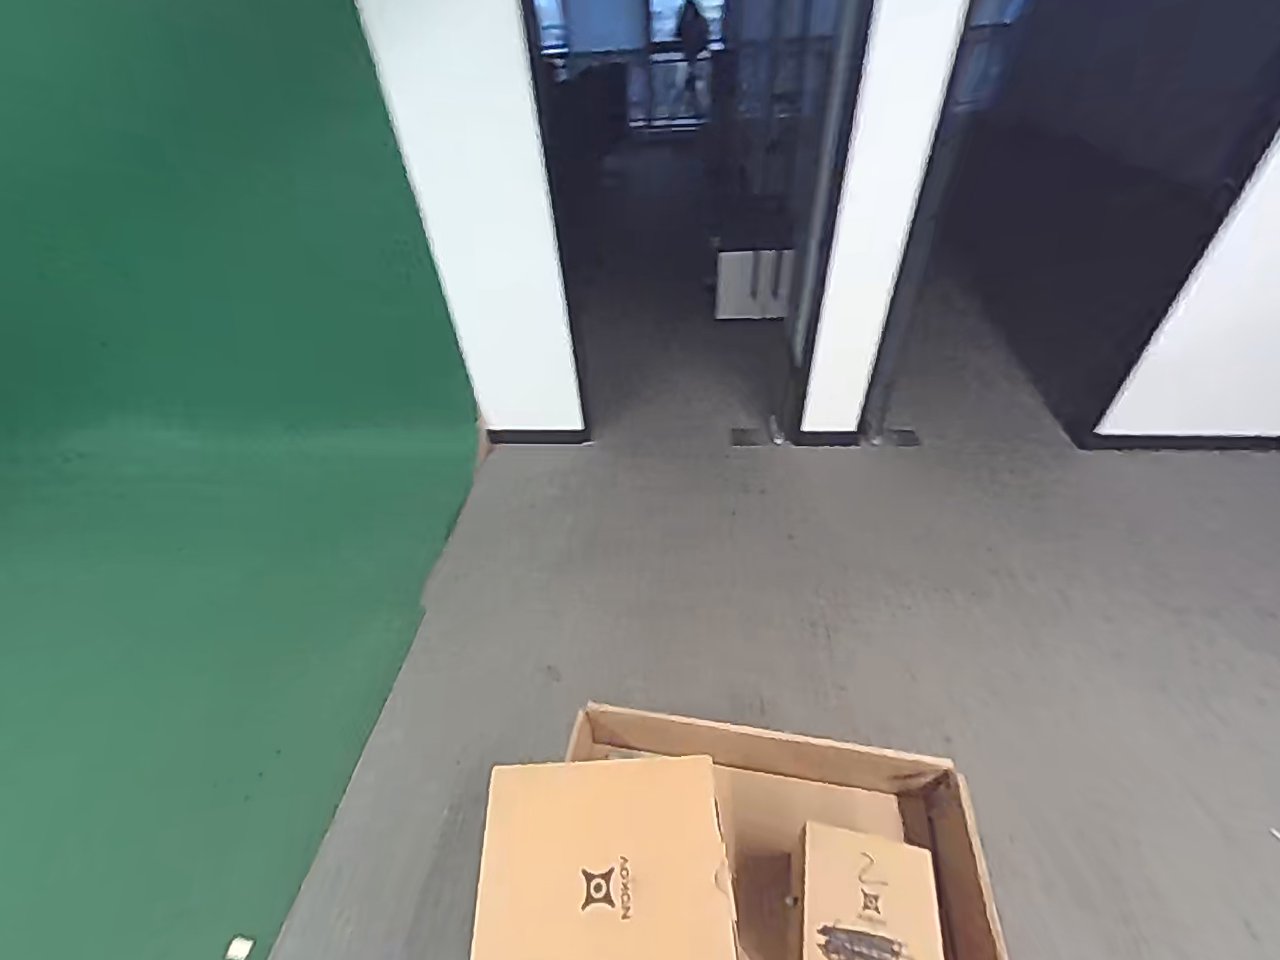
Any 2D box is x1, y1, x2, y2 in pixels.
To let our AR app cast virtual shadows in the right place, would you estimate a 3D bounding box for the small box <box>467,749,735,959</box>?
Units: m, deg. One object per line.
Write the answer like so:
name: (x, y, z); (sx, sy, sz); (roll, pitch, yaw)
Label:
small box: (-0.031, 0.335, 0.434); (0.179, 0.176, 0.168); (-1, 46, -5)
